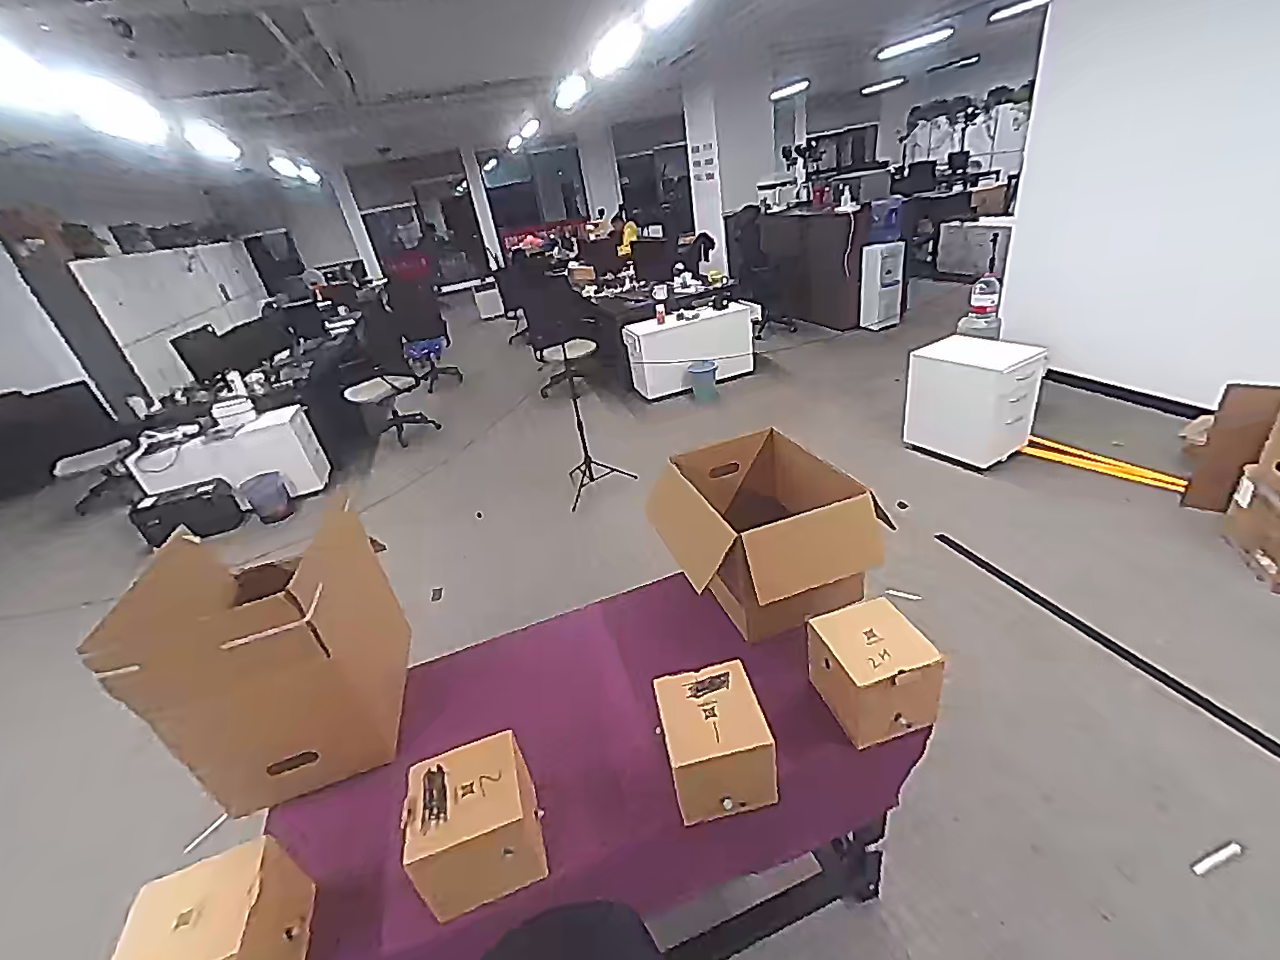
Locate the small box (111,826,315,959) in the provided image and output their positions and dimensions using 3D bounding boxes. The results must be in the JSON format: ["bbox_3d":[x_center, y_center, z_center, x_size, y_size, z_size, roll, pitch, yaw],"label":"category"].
[{"bbox_3d":[-0.619,0.669,0.797,0.179,0.176,0.168,-17,29,-14],"label":"small box"}]

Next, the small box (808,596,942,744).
[{"bbox_3d":[0.432,0.355,1.021,0.168,0.176,0.179,-15,29,-6],"label":"small box"}]
